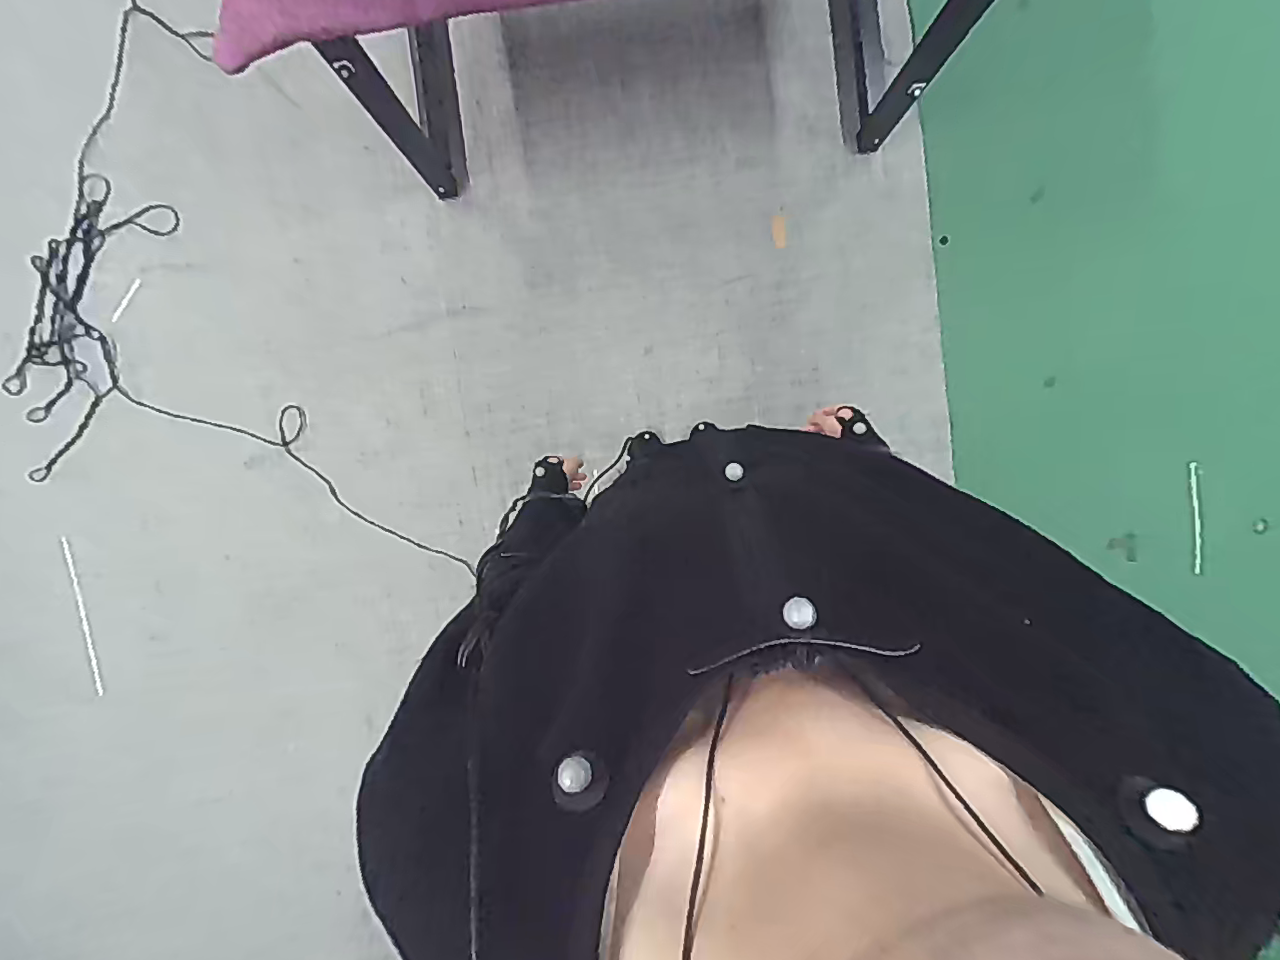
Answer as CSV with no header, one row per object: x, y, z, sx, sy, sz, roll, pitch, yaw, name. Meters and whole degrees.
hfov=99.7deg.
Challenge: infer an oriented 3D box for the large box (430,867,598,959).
-0.350,1.331,1.450,0.408,0.320,0.320,15,95,-1,large box
